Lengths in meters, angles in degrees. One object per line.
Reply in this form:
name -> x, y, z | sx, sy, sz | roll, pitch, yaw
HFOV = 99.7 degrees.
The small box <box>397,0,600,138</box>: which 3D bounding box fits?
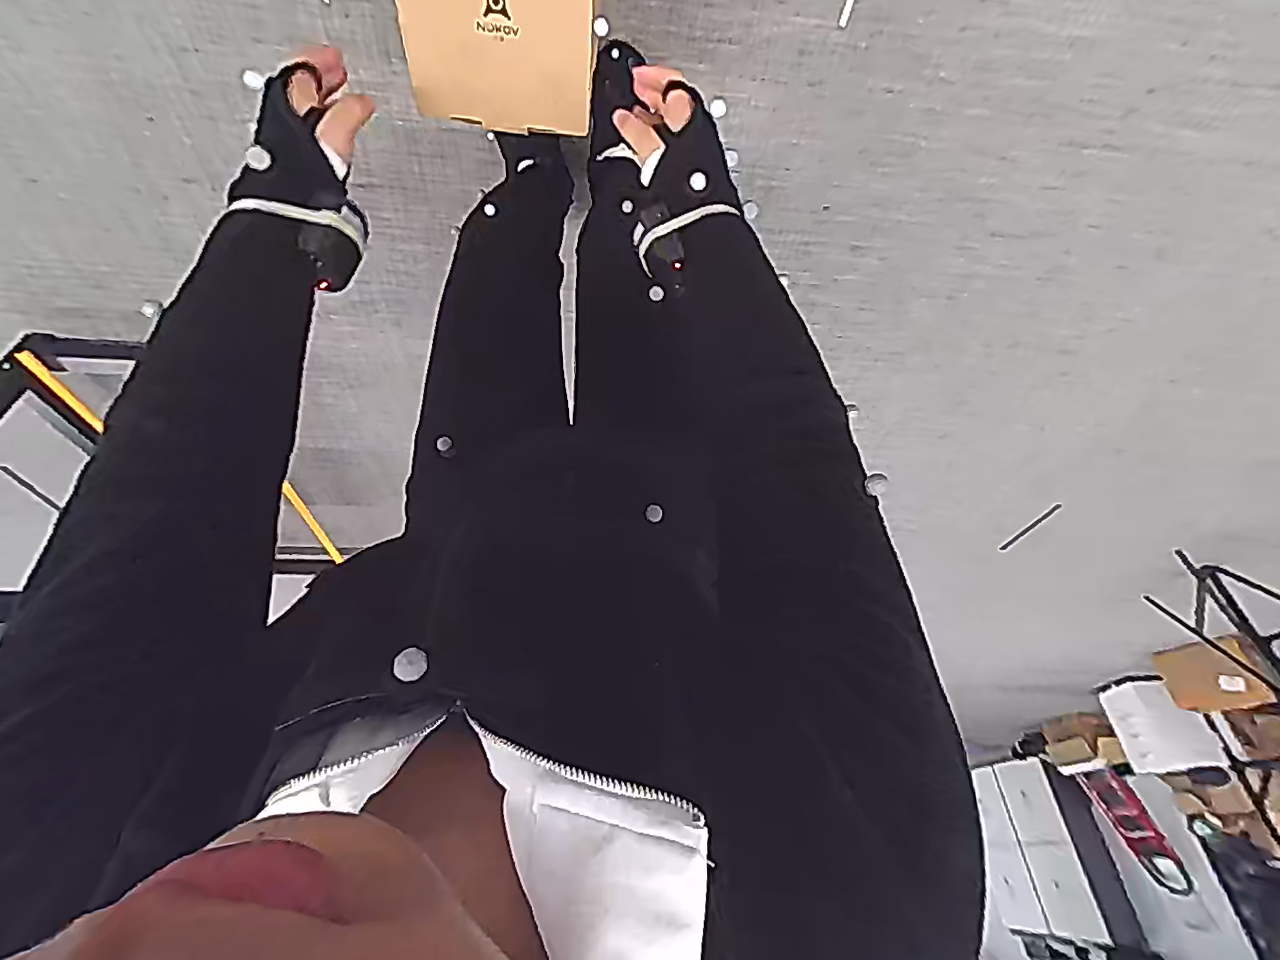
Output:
small box -> -0.121, -0.460, 0.504 | 0.168, 0.176, 0.179 | 3, 145, -6
